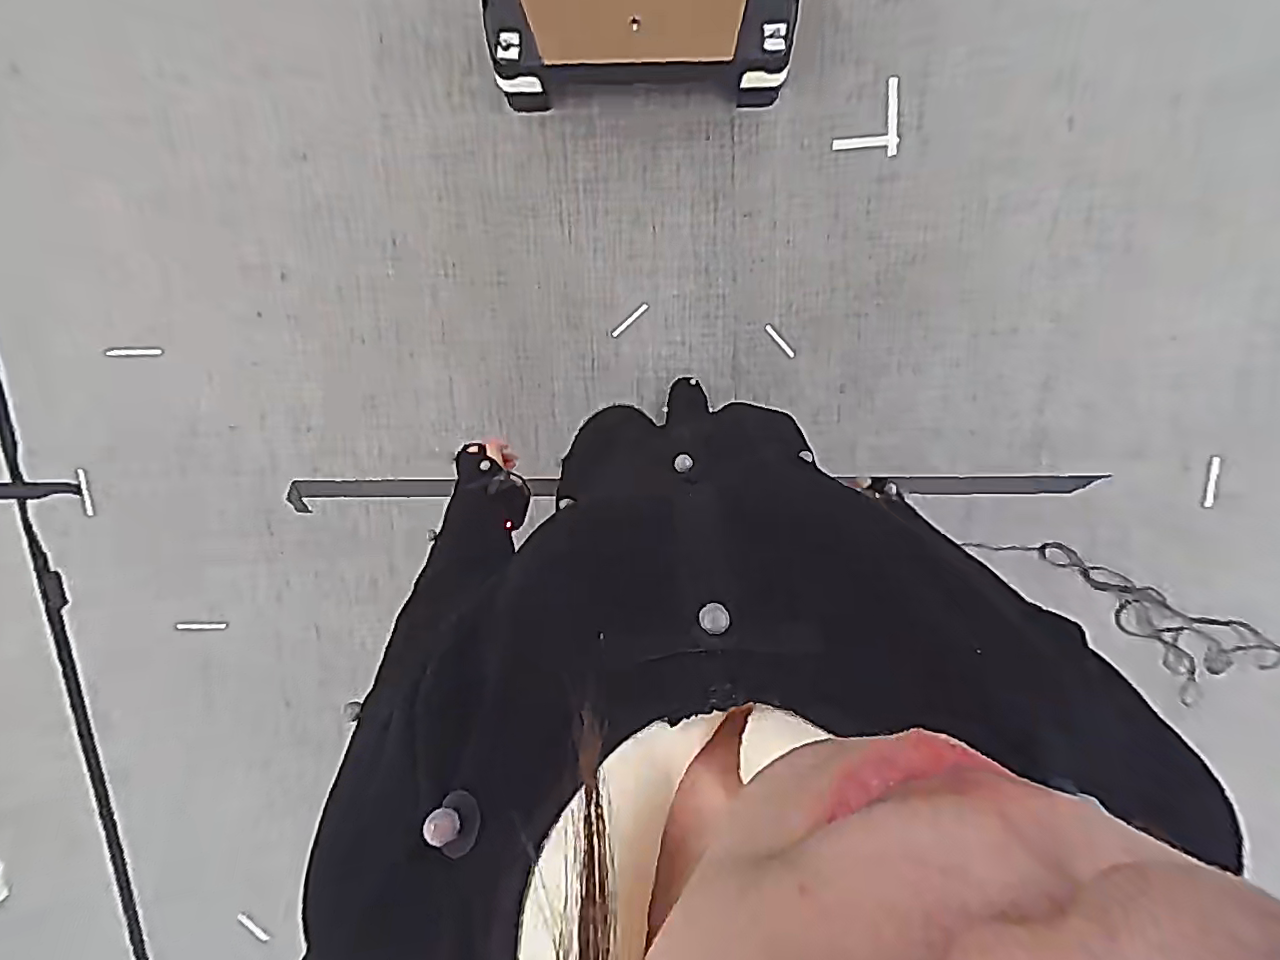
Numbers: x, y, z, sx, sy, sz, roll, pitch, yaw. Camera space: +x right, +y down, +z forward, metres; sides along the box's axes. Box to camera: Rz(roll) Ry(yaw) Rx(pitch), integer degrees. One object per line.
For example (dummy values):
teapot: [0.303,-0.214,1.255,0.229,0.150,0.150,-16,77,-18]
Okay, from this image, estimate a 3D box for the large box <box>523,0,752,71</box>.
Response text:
large box: [-0.004,-0.992,0.967,0.408,0.320,0.320,0,100,3]

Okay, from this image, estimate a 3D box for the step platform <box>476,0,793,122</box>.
step platform: [-0.012,-1.018,1.205,0.684,0.204,0.286,5,100,2]
